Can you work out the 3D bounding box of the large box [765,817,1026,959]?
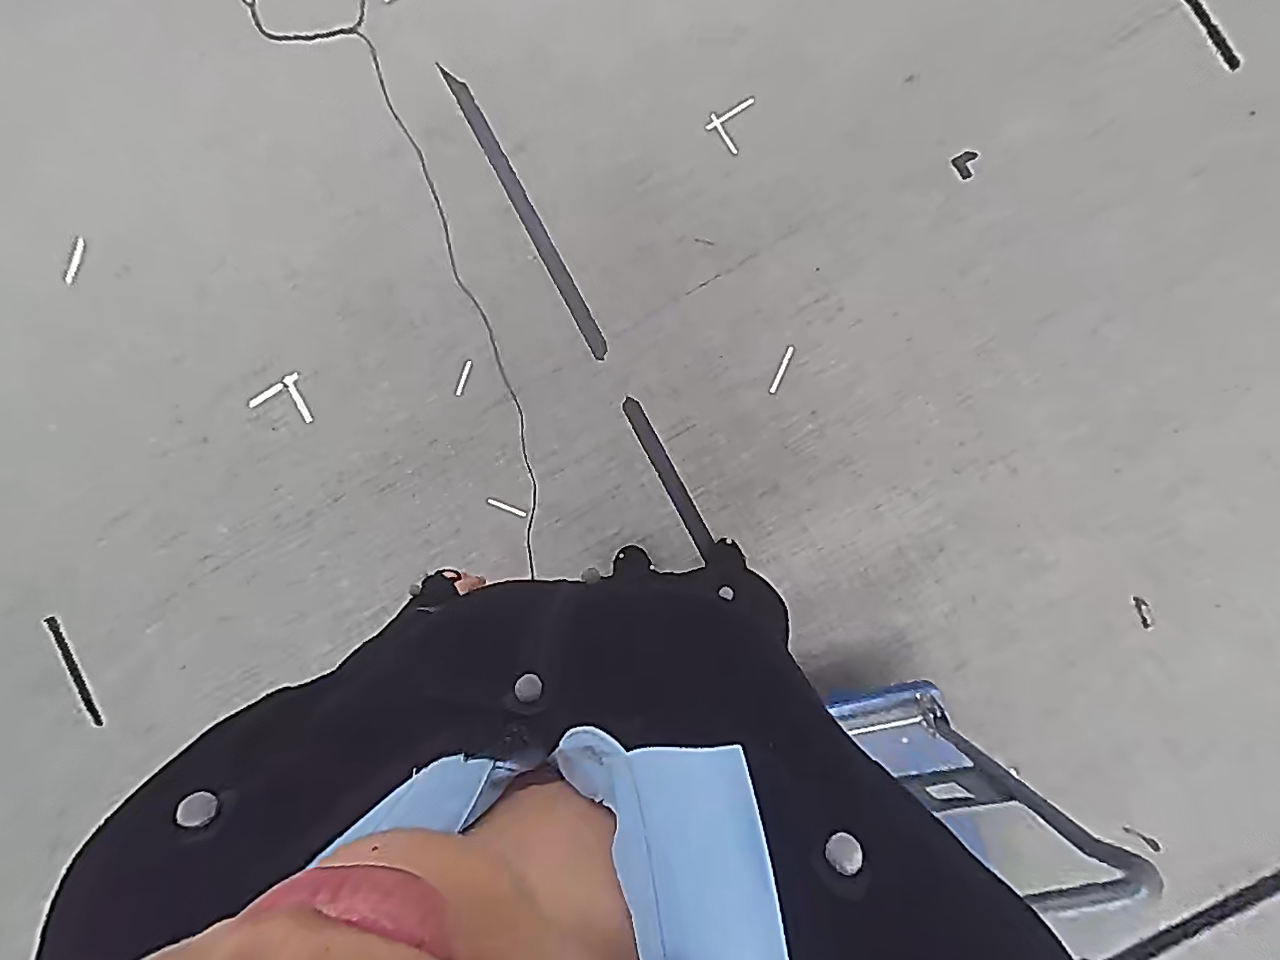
[{"bbox_3d":[0.506,0.955,1.098,0.408,0.320,0.320,-13,86,3],"label":"large box"}]
